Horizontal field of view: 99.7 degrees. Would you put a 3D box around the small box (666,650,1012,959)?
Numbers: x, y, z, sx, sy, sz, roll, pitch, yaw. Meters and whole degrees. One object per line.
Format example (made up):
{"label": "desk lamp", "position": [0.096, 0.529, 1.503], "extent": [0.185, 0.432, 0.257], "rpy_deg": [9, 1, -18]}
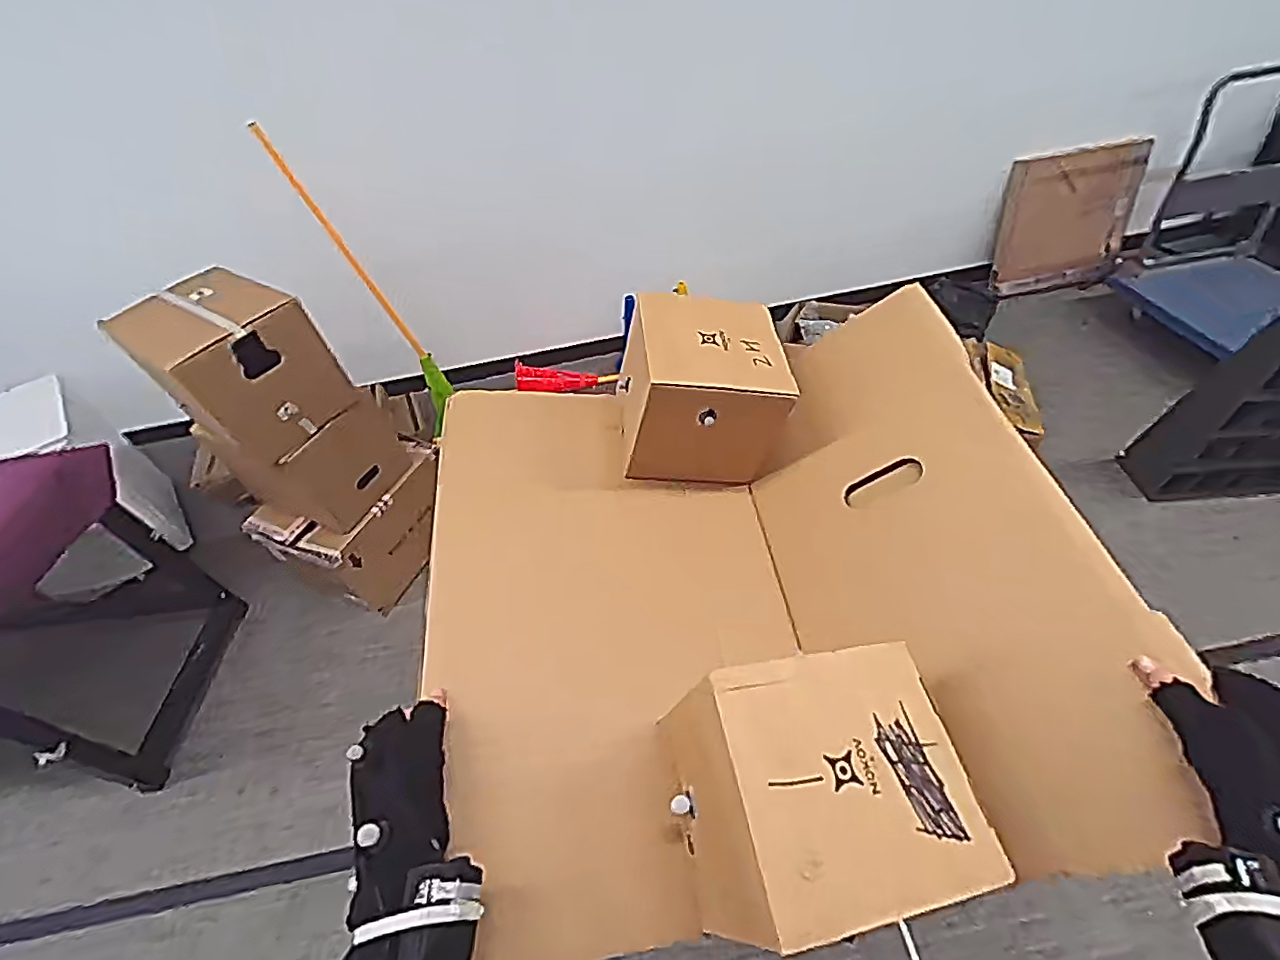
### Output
{"label": "small box", "position": [0.135, 0.254, 0.442], "extent": [0.179, 0.176, 0.168], "rpy_deg": [-3, 55, -15]}

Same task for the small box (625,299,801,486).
{"label": "small box", "position": [0.077, -0.106, 0.697], "extent": [0.179, 0.176, 0.168], "rpy_deg": [4, 53, -11]}
